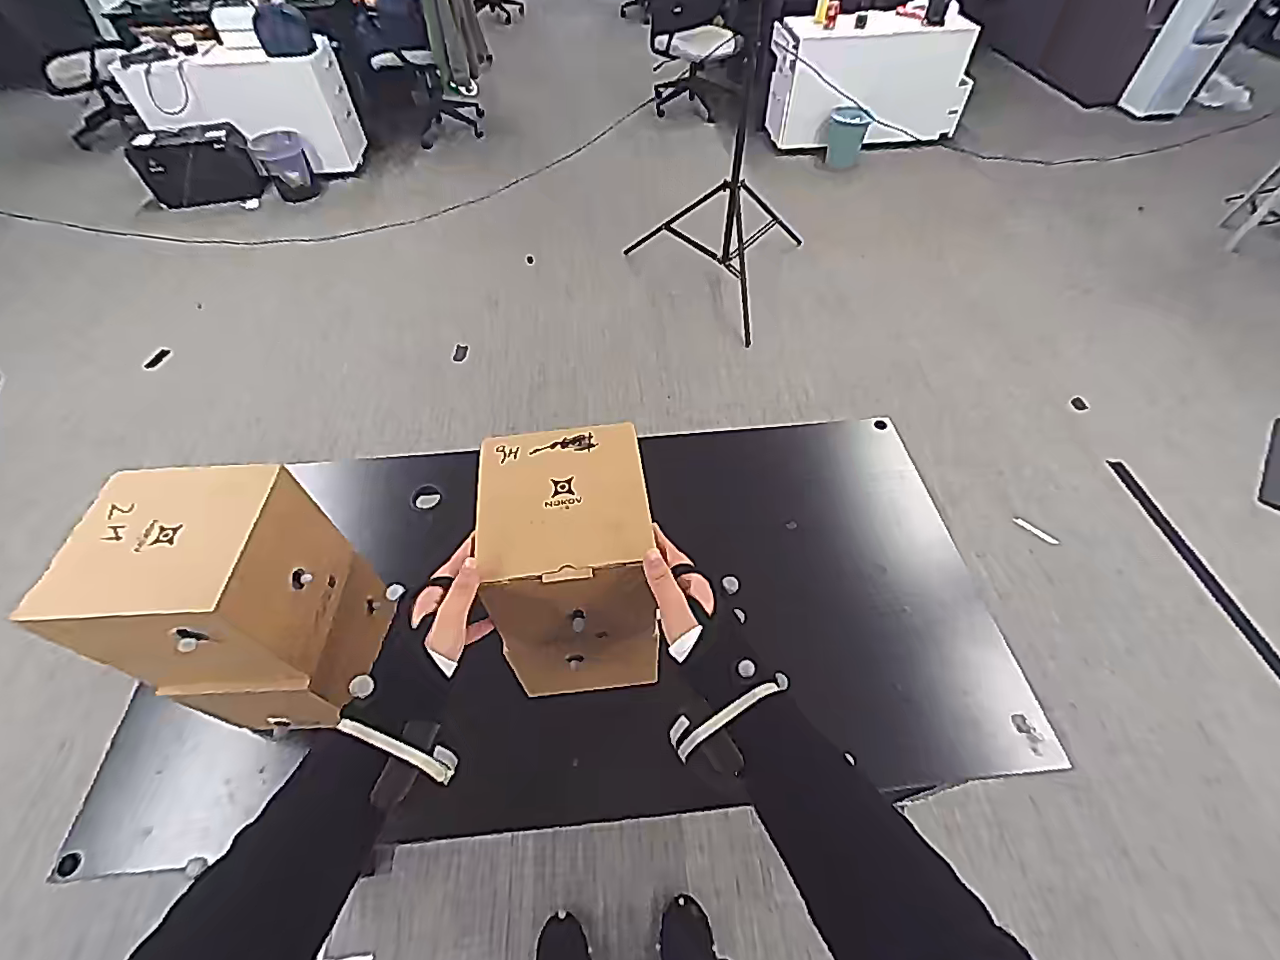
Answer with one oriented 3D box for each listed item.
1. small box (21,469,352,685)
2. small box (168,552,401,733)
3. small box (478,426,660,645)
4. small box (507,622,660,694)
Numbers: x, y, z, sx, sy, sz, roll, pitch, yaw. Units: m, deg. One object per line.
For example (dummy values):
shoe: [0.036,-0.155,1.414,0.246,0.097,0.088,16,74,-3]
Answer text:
small box: [-0.439,0.106,0.569,0.179,0.176,0.168,-3,52,0]
small box: [-0.430,0.211,0.696,0.168,0.176,0.179,-3,53,0]
small box: [-0.070,0.068,0.589,0.168,0.176,0.179,-7,54,-4]
small box: [-0.068,0.171,0.716,0.179,0.176,0.168,-5,53,-4]
